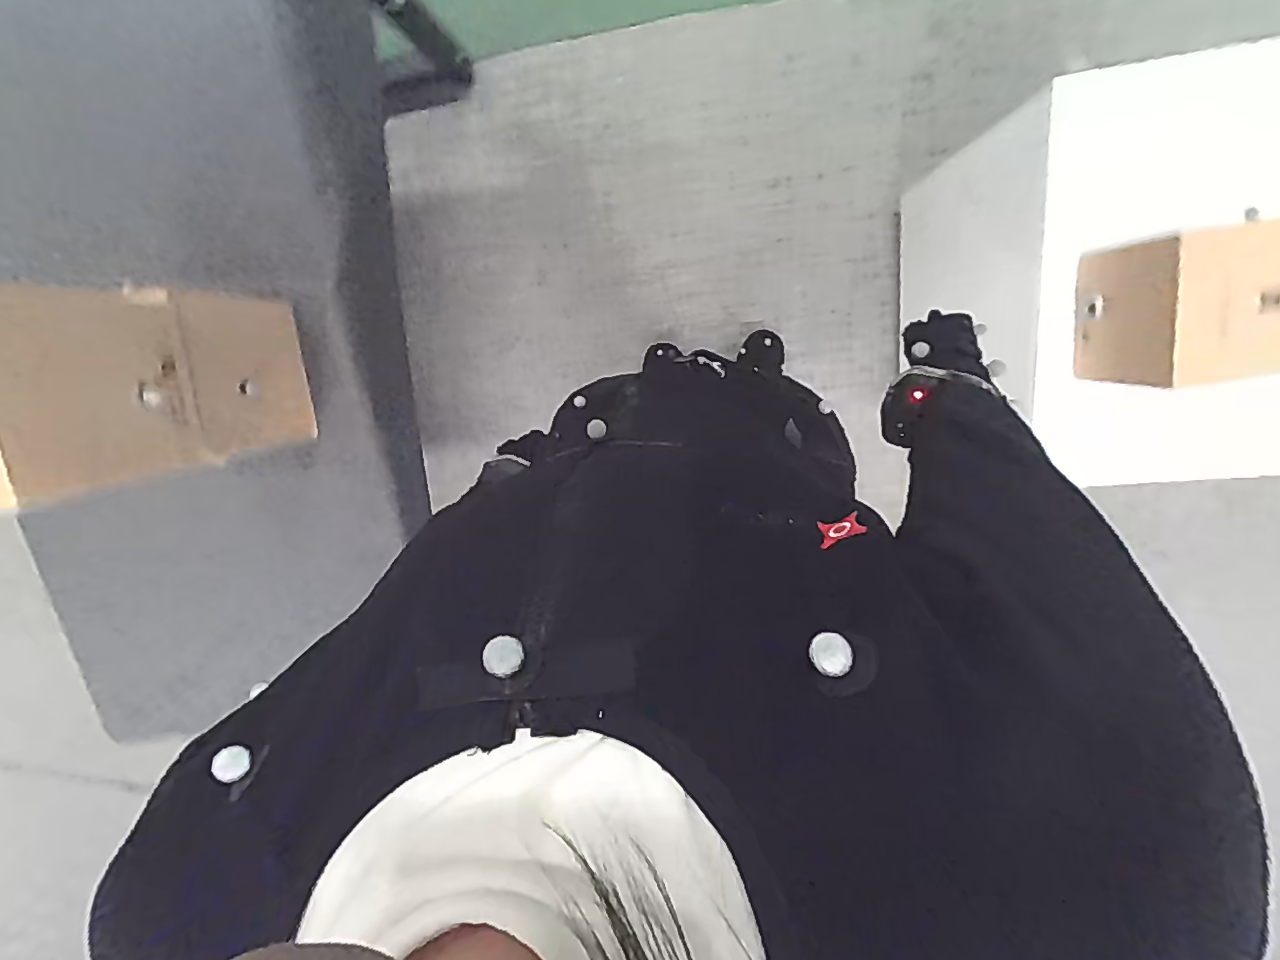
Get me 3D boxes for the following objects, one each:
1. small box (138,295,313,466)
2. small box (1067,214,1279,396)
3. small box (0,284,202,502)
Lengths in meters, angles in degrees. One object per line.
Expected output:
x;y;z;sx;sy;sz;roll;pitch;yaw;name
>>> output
-0.530;-0.120;0.644;0.168;0.176;0.179;-2;105;9;small box
0.630;-0.196;0.608;0.179;0.176;0.168;-7;103;11;small box
-0.558;-0.078;0.487;0.179;0.176;0.168;-2;104;10;small box
